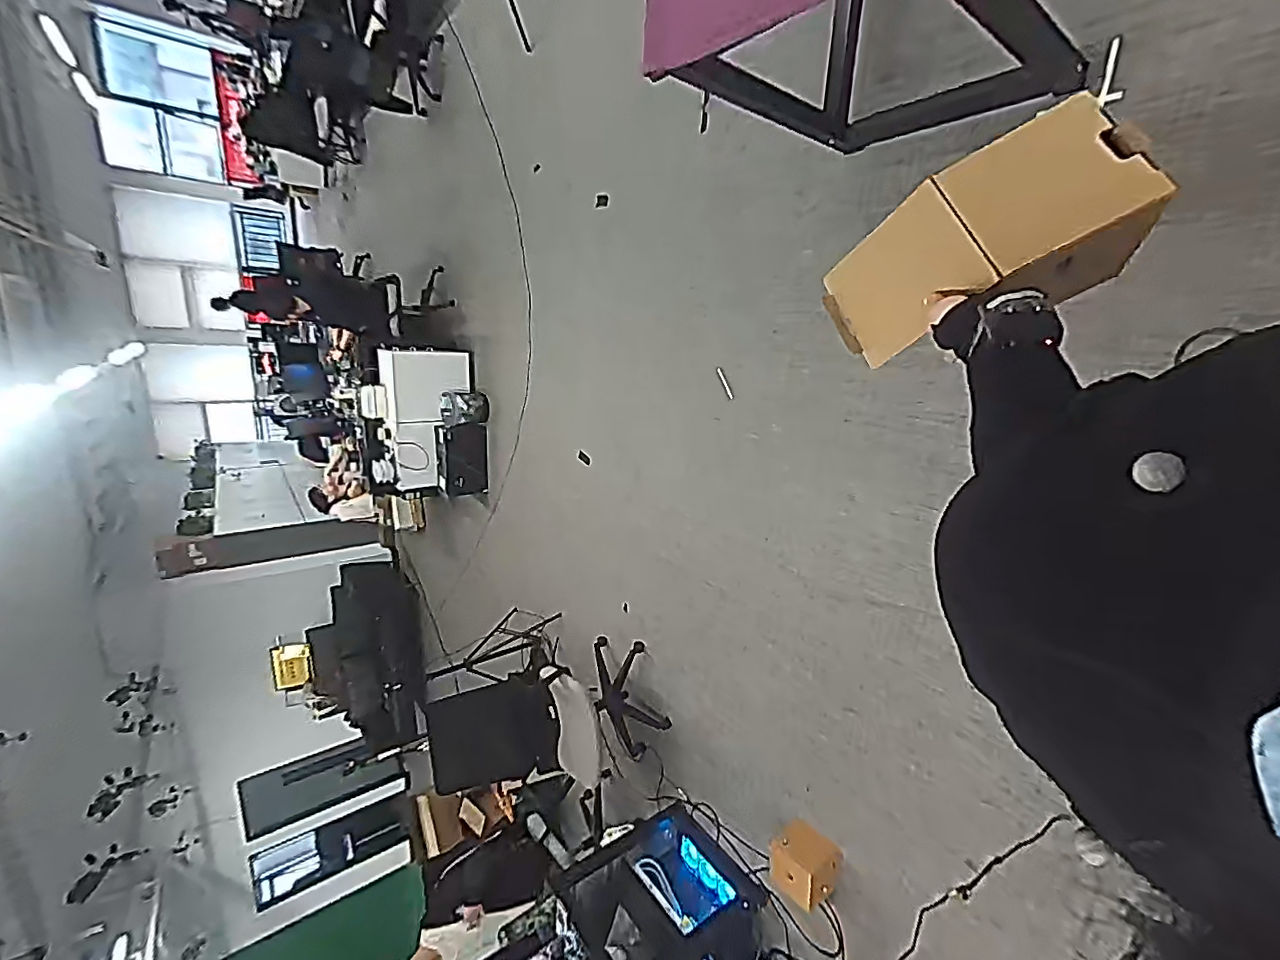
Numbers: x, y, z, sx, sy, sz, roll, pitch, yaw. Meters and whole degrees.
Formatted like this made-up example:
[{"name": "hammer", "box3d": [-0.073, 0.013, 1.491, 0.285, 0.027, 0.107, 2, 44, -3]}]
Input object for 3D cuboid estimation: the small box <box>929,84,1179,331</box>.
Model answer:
[{"name": "small box", "box3d": [0.482, -0.316, 0.668, 0.179, 0.176, 0.168, -26, 70, 19]}]
